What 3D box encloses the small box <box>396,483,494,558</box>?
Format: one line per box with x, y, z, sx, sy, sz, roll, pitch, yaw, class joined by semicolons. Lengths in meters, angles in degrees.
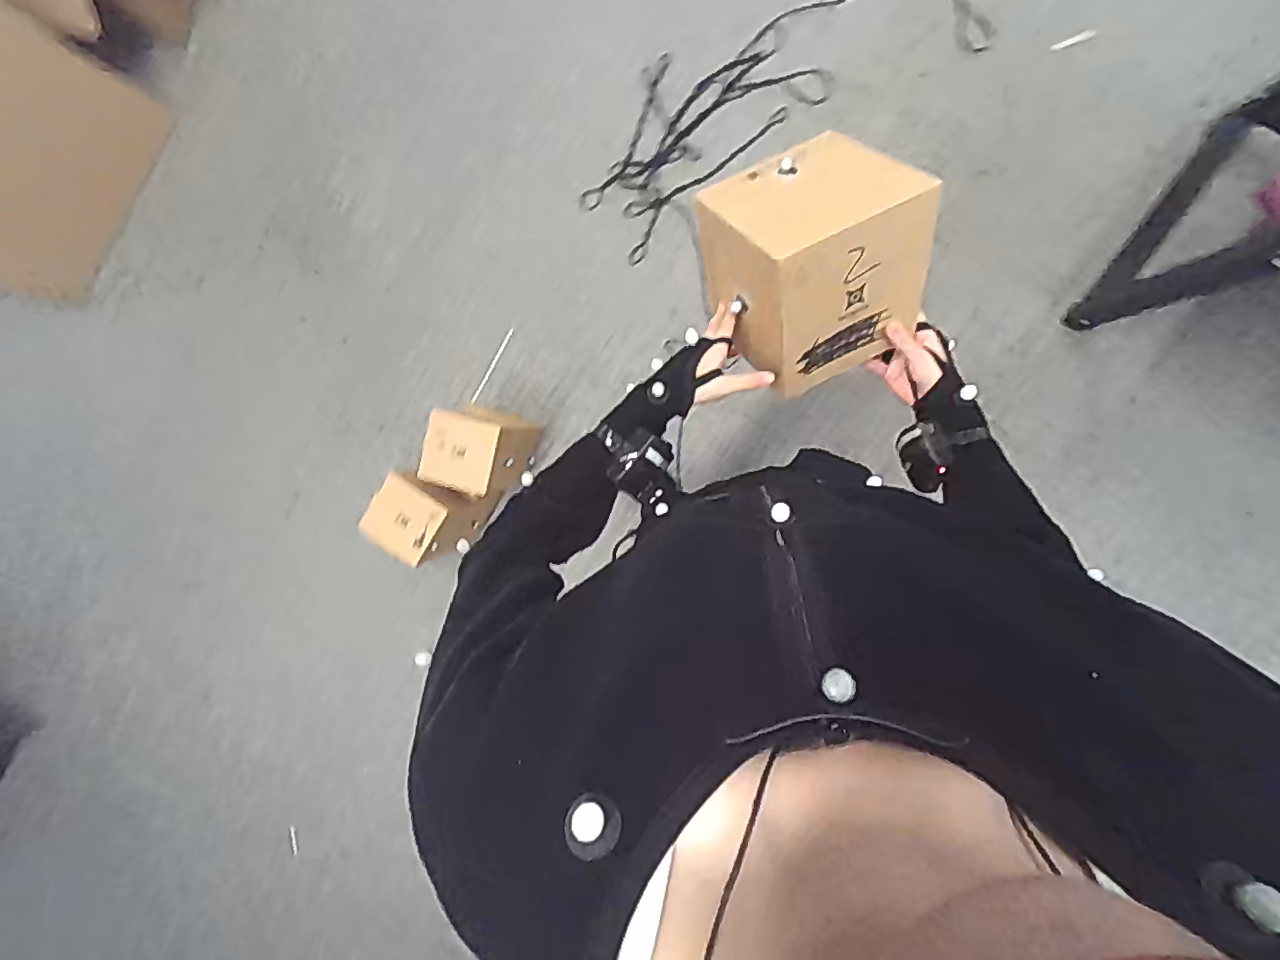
-0.532;0.087;1.506;0.168;0.176;0.179;33;98;5;small box

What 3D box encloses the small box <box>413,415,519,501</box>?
-0.414;-0.058;1.317;0.179;0.176;0.168;16;96;7;small box
